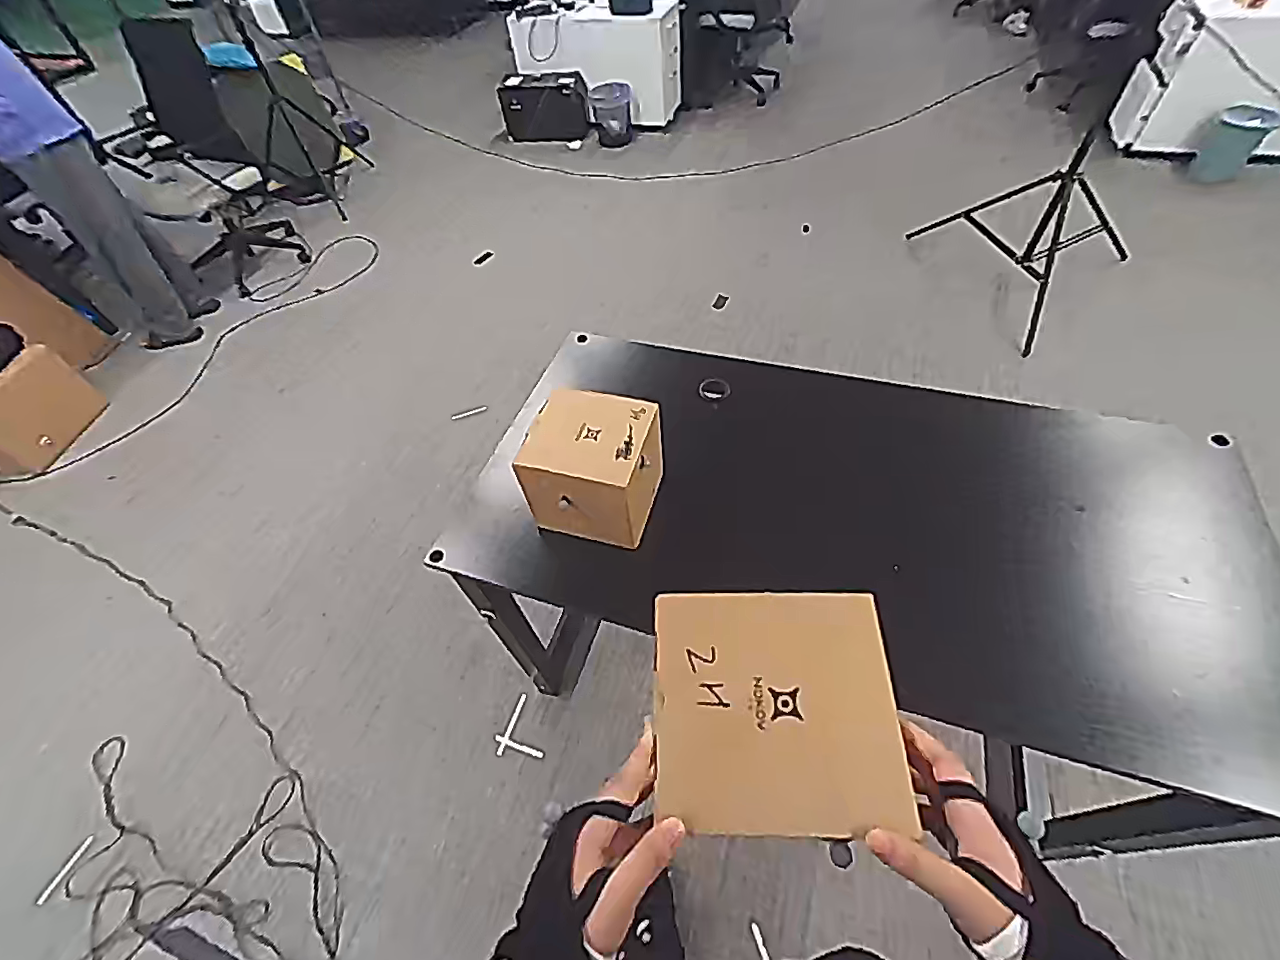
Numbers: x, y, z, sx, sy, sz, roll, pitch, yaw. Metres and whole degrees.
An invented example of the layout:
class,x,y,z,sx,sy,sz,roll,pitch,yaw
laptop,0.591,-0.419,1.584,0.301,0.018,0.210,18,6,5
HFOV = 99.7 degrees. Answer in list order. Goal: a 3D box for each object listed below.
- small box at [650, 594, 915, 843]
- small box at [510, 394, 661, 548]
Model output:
class,x,y,z,sx,sy,sz,roll,pitch,yaw
small box,0.101,0.205,0.464,0.179,0.176,0.168,-1,58,5
small box,-0.074,-0.011,0.856,0.179,0.176,0.168,11,54,14
